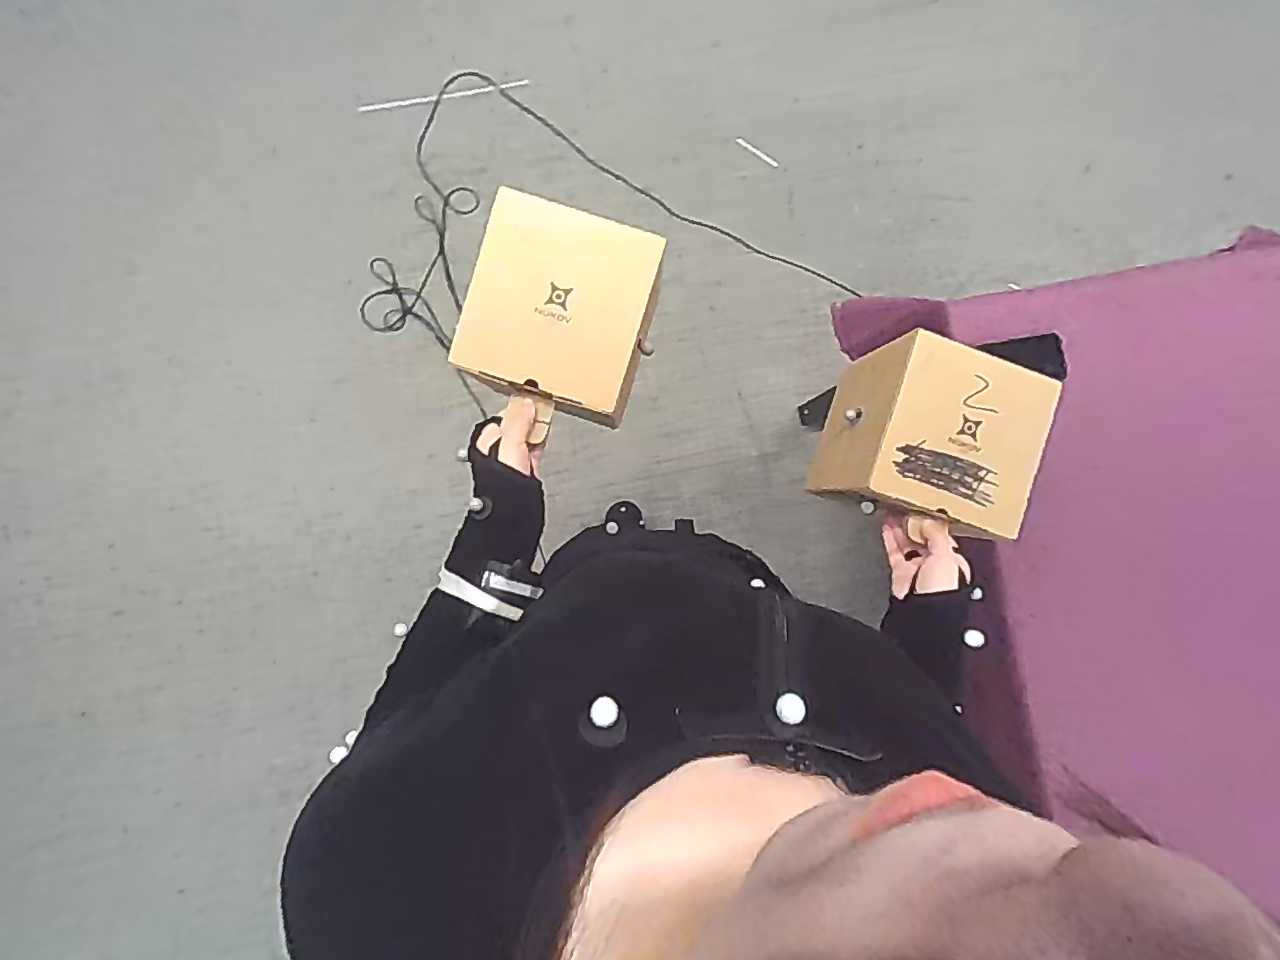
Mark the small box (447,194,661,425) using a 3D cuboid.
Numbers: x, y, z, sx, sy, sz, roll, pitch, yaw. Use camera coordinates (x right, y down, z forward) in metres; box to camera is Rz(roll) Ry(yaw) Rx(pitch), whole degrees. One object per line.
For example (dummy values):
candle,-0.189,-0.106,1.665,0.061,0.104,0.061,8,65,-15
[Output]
small box,-0.085,-0.169,0.595,0.168,0.176,0.179,17,92,-2
